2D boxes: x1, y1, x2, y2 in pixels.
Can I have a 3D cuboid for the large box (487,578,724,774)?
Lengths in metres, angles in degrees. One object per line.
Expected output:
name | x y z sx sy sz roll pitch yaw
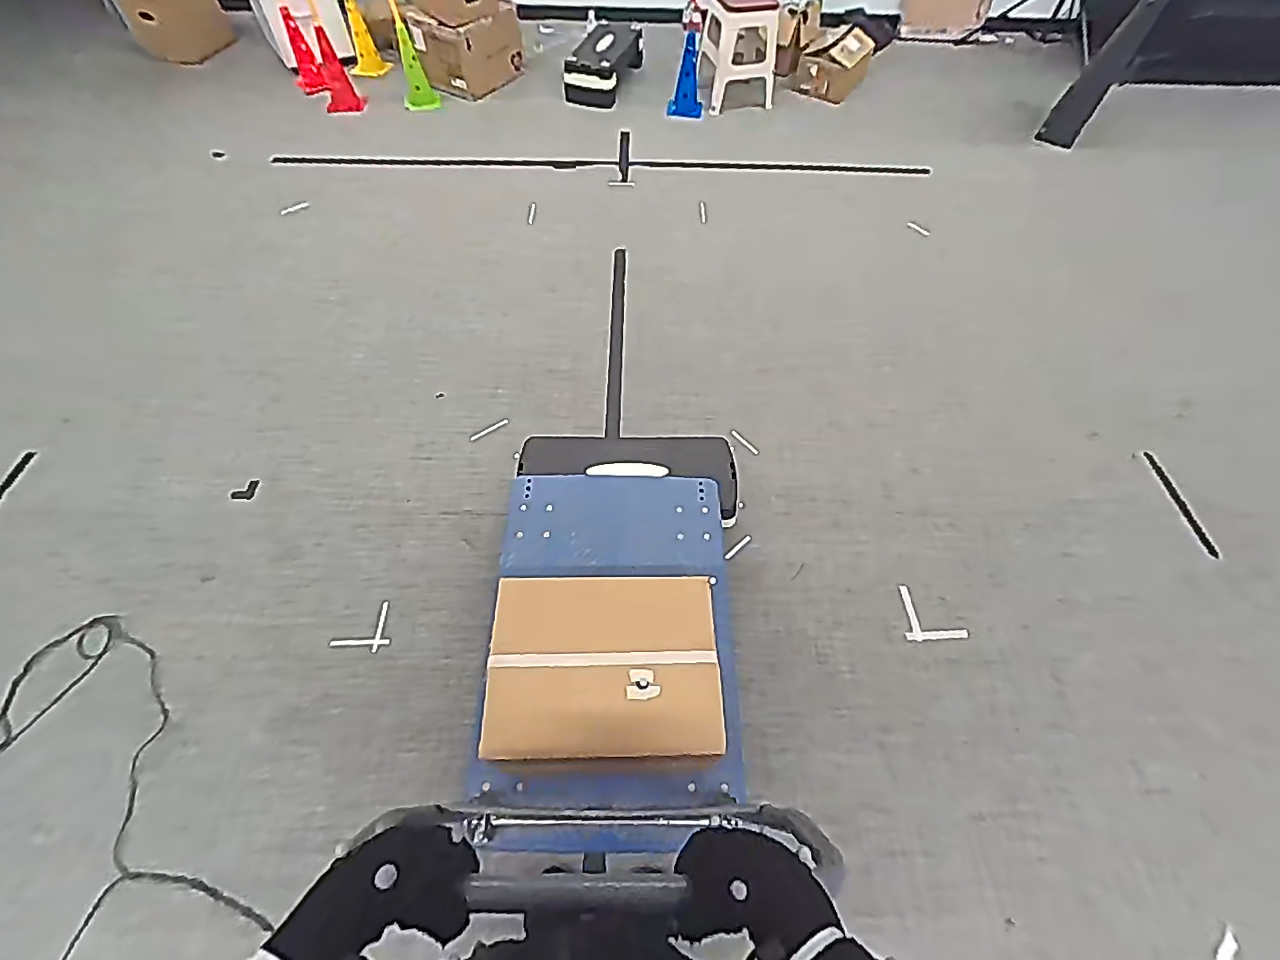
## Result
large box | -0.070 0.405 1.102 0.408 0.320 0.320 0 57 -3
